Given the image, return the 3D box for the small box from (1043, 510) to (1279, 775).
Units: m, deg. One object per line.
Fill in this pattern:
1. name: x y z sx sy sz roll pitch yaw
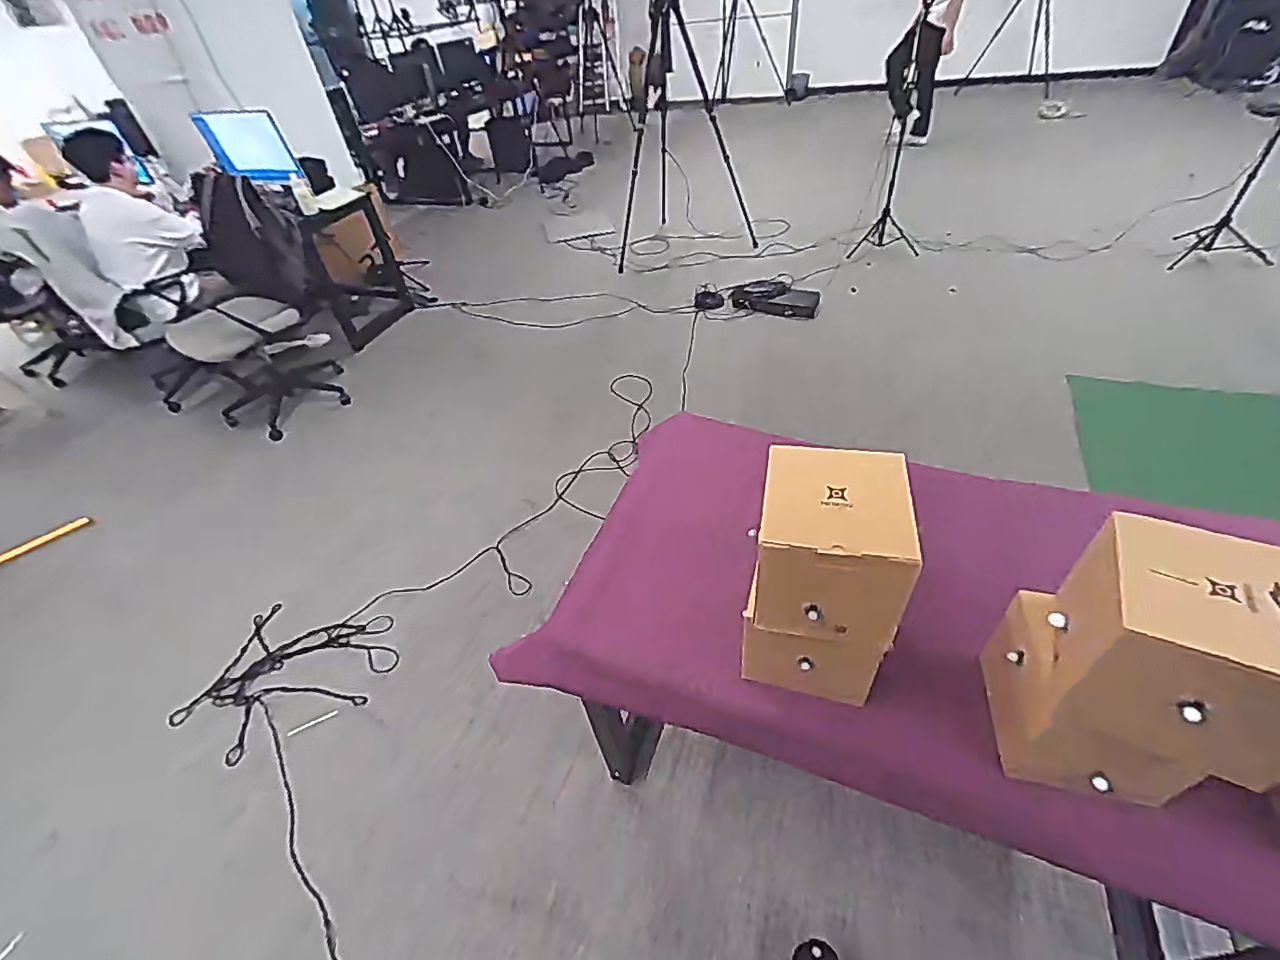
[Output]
1. small box: 0.545 0.164 0.544 0.179 0.176 0.168 17 47 25

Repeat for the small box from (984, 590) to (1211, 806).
1. small box: 0.556 0.268 0.675 0.168 0.176 0.179 6 43 16
